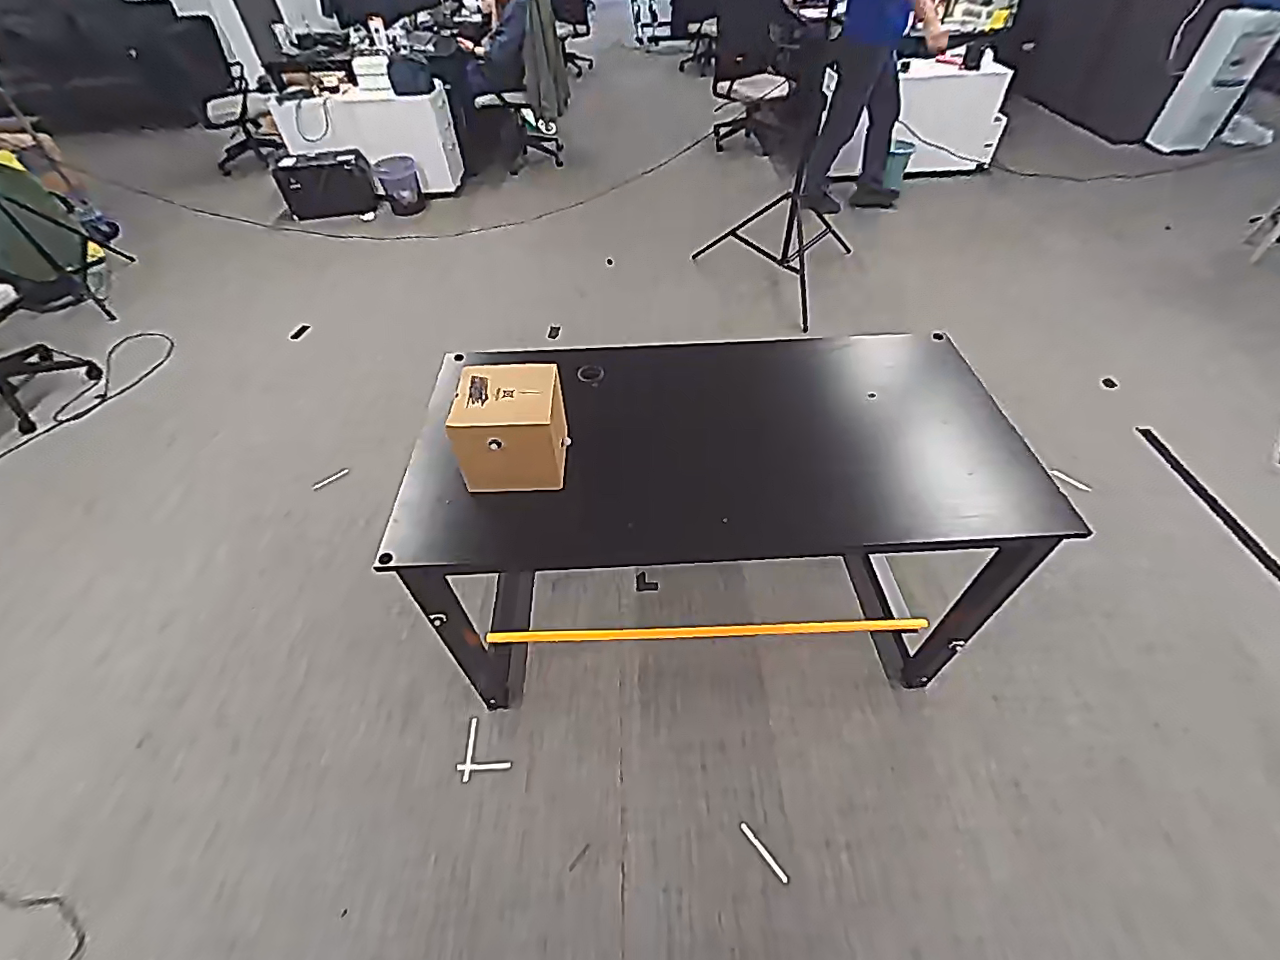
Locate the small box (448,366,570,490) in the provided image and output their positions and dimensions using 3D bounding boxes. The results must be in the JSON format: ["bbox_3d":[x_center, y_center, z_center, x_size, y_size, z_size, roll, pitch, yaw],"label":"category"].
[{"bbox_3d":[-0.232,-0.094,1.006,0.179,0.176,0.168,-1,49,-1],"label":"small box"}]
